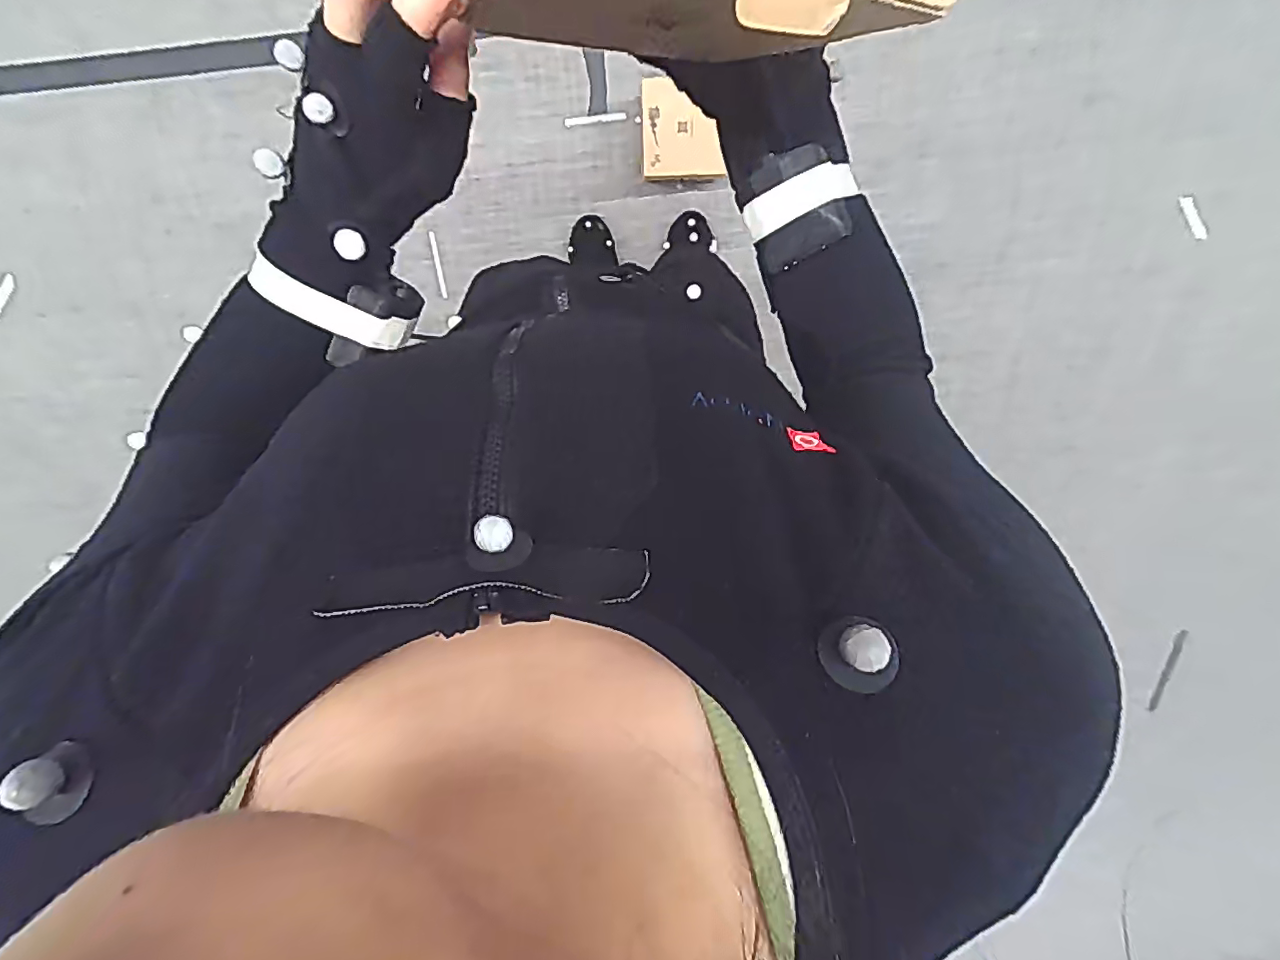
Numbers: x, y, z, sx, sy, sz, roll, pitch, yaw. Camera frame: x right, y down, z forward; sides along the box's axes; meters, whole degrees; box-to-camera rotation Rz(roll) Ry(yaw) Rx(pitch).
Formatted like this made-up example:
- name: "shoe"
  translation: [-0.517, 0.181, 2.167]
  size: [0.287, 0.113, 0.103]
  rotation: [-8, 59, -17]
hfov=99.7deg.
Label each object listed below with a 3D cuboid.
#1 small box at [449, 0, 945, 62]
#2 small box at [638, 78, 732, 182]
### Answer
- name: "small box"
  translation: [0.014, -0.280, 0.205]
  size: [0.168, 0.179, 0.176]
  rotation: [-13, 125, -24]
- name: "small box"
  translation: [0.087, -0.730, 1.141]
  size: [0.179, 0.176, 0.168]
  rotation: [-2, 115, -2]
